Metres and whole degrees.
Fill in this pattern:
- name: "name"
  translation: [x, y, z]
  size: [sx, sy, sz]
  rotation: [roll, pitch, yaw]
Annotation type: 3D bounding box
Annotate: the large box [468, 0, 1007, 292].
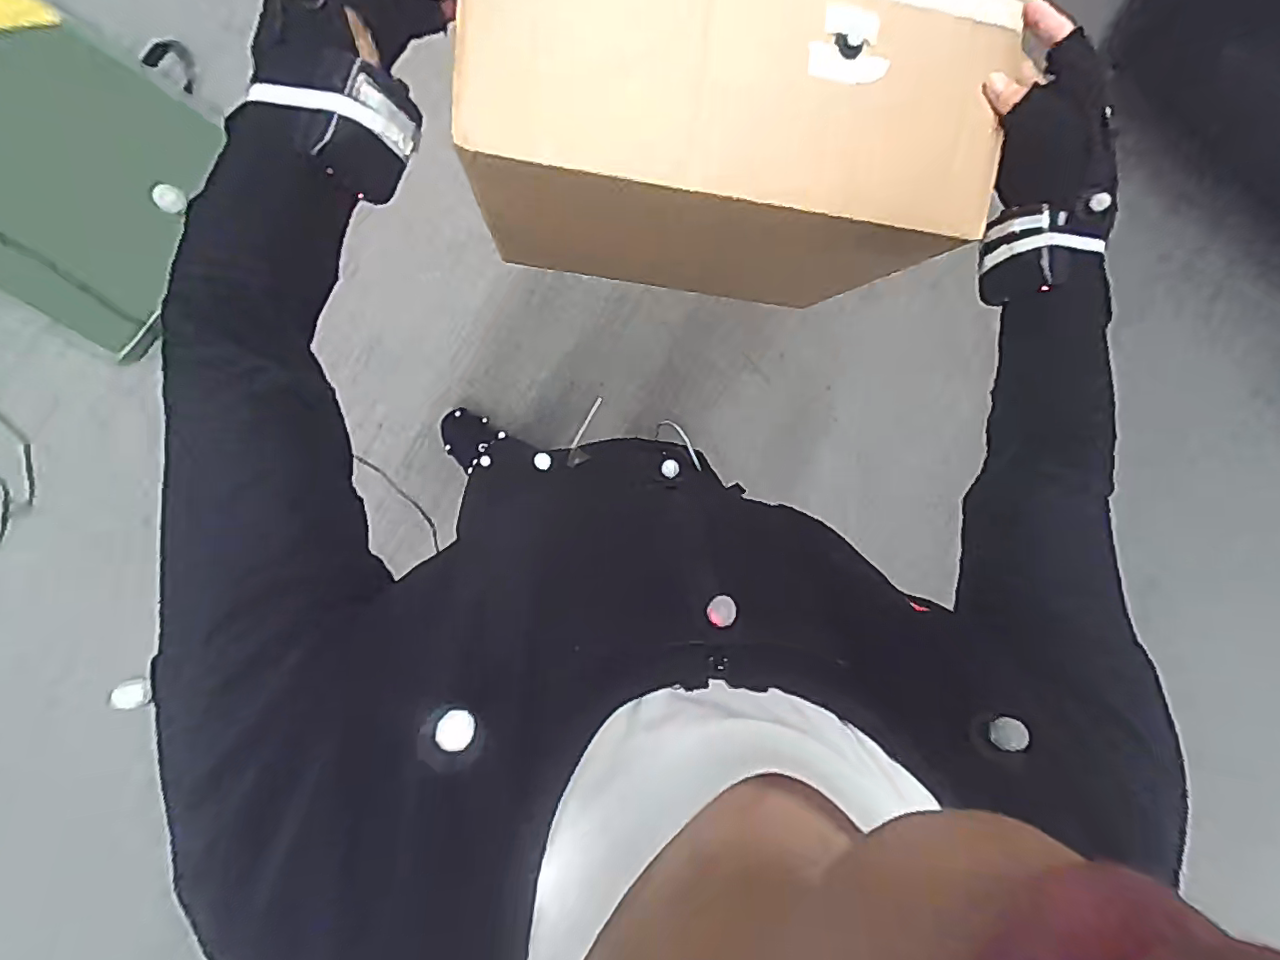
- name: "large box"
  translation: [0.061, -0.391, 0.531]
  size: [0.408, 0.320, 0.320]
  rotation: [4, 98, -10]
